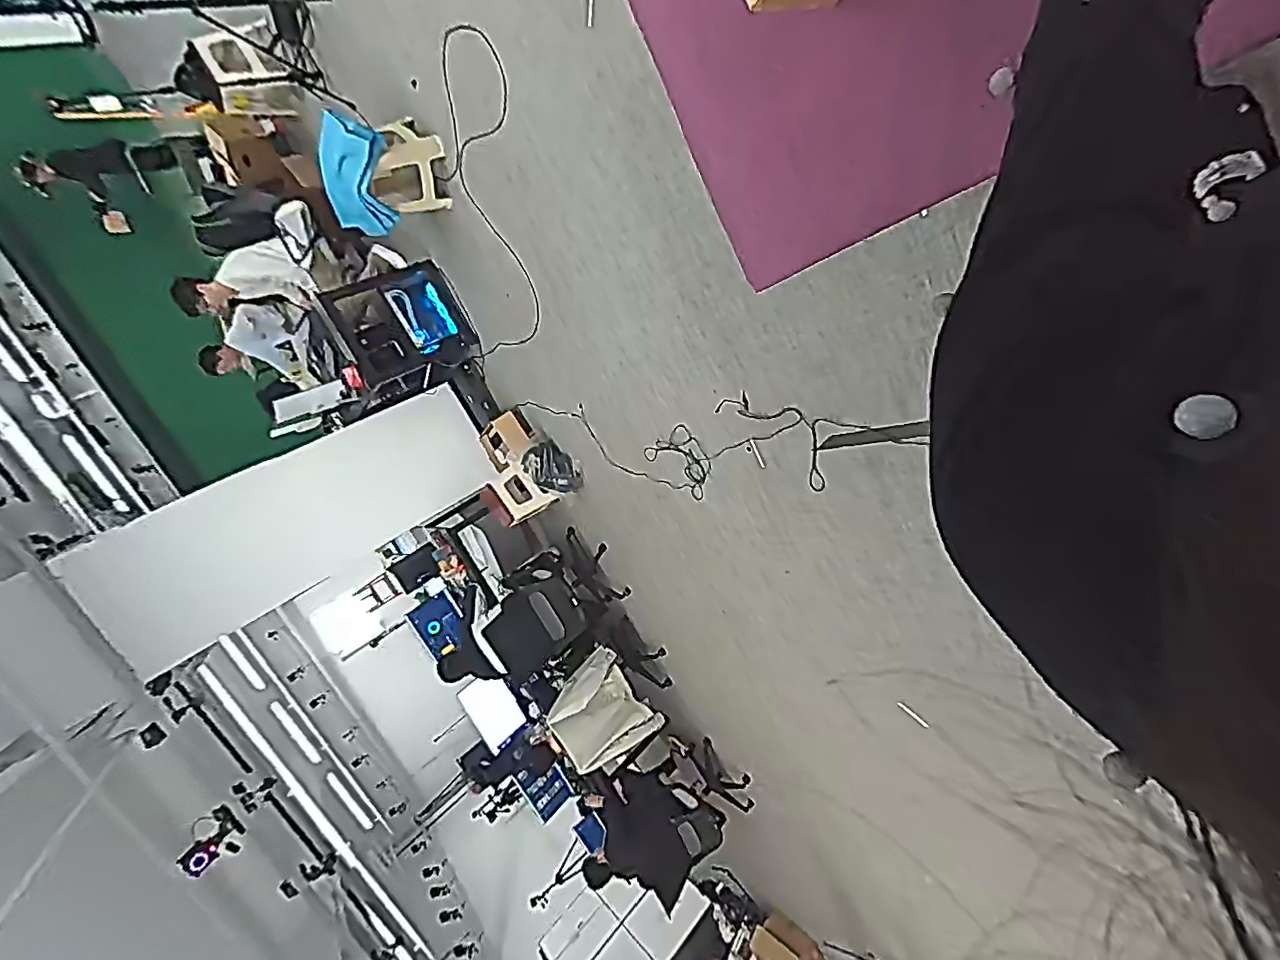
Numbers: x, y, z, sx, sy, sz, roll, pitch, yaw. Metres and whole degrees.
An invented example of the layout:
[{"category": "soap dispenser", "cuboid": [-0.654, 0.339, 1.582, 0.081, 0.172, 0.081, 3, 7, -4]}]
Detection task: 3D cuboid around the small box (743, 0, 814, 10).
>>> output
[{"category": "small box", "cuboid": [0.174, -0.609, 0.517, 0.179, 0.176, 0.168, -13, 109, 58]}]
